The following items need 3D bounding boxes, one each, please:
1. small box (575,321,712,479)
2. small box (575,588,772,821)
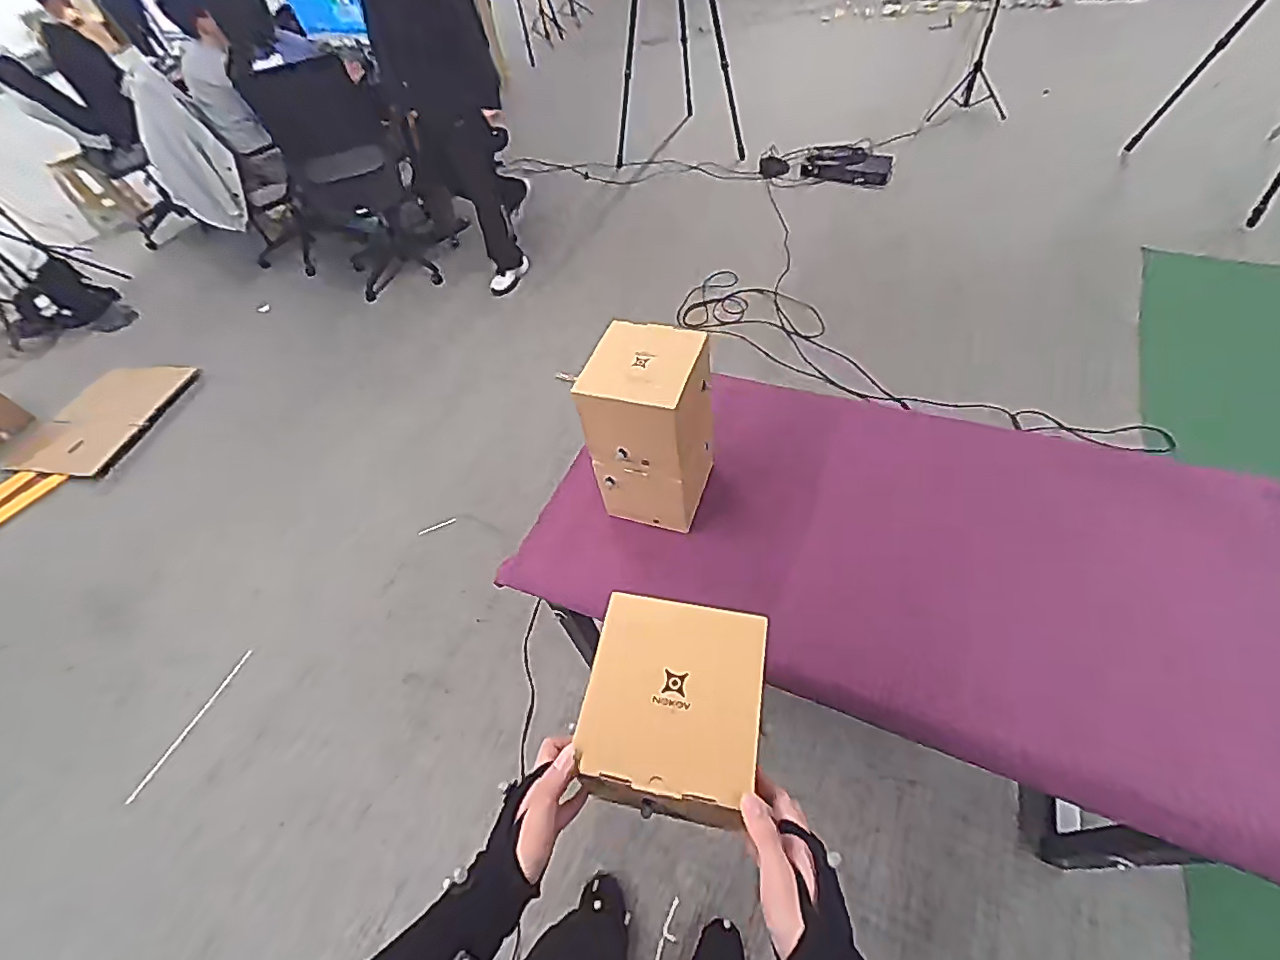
[{"bbox_3d":[0.014,-0.130,0.886,0.168,0.176,0.179,13,56,18],"label":"small box"},{"bbox_3d":[0.041,0.244,0.582,0.168,0.176,0.179,8,54,10],"label":"small box"}]
